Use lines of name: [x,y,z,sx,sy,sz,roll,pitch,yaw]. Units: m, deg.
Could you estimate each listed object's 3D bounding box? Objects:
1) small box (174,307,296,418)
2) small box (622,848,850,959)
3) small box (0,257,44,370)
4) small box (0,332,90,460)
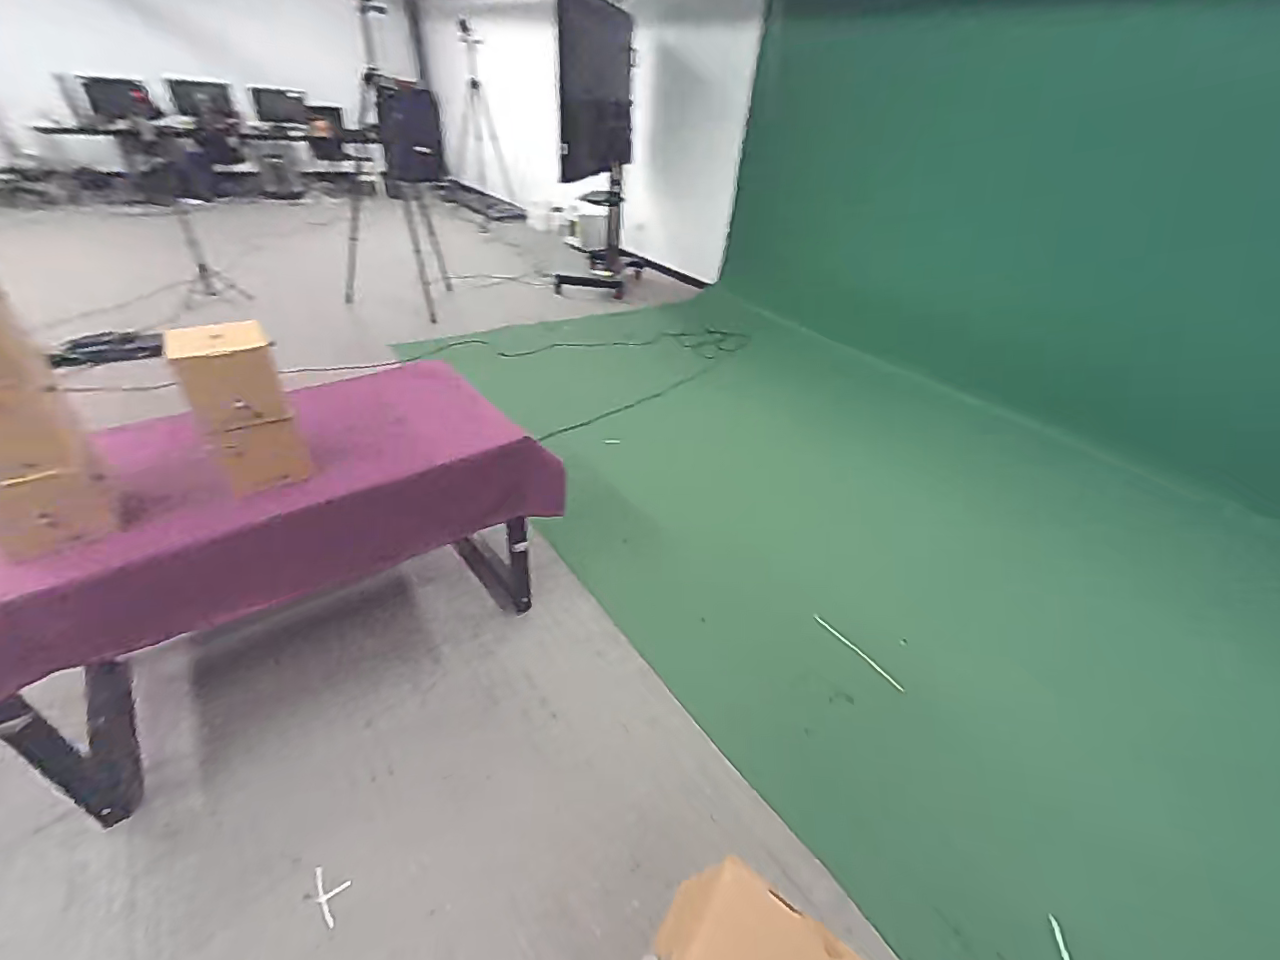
small box: [-0.864,-0.254,1.159,0.168,0.176,0.179,-19,43,-30]
small box: [0.058,0.413,0.382,0.168,0.176,0.179,33,48,16]
small box: [-1.120,-0.275,0.872,0.168,0.176,0.179,-20,43,-33]
small box: [-1.138,-0.146,0.970,0.168,0.176,0.179,-19,42,-31]
